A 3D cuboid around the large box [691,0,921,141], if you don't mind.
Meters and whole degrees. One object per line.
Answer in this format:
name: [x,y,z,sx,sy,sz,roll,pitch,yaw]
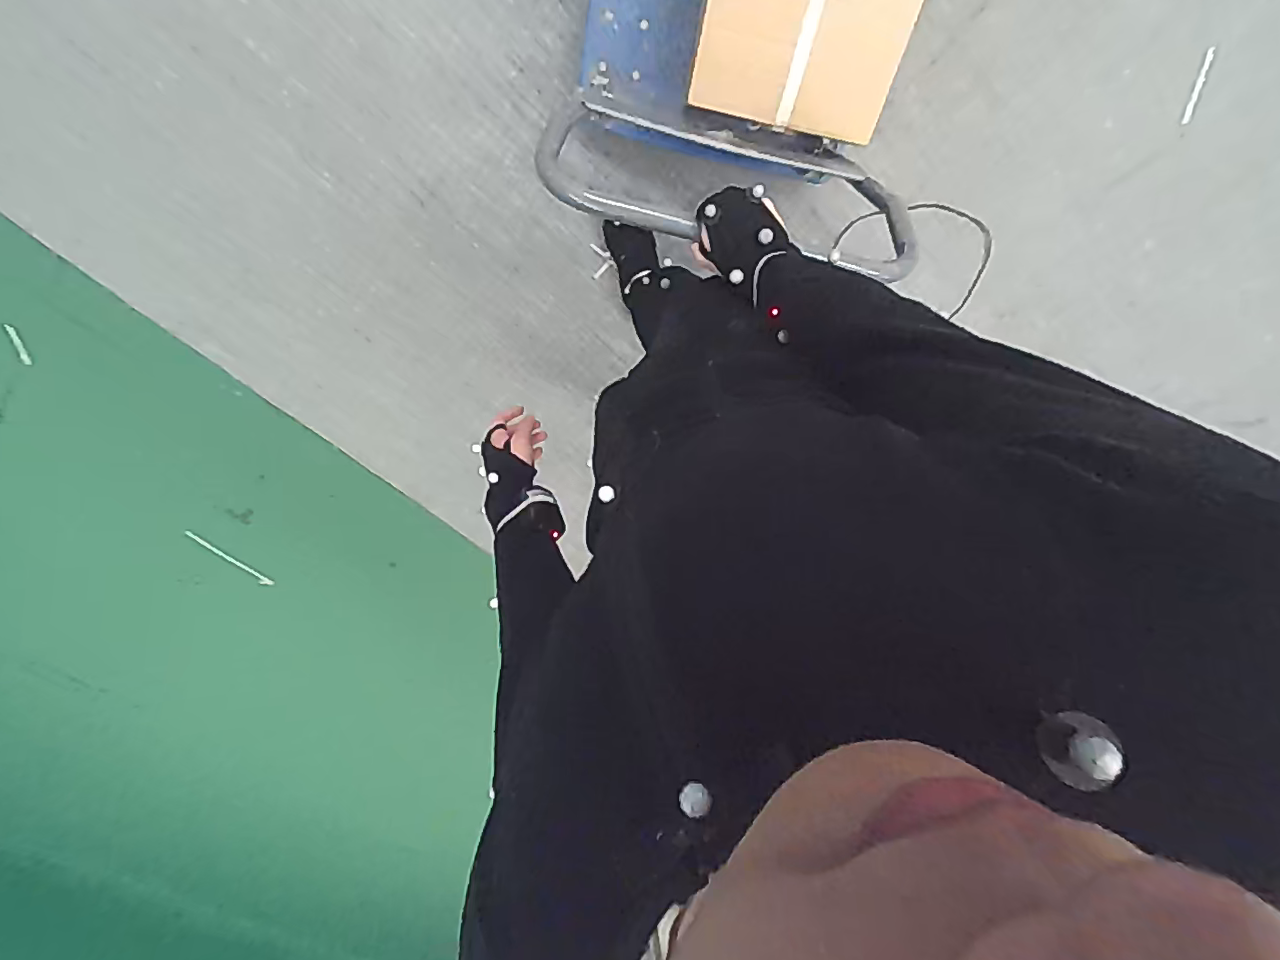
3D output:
large box: [0.278,-0.835,0.904,0.320,0.320,0.408,11,125,-5]
